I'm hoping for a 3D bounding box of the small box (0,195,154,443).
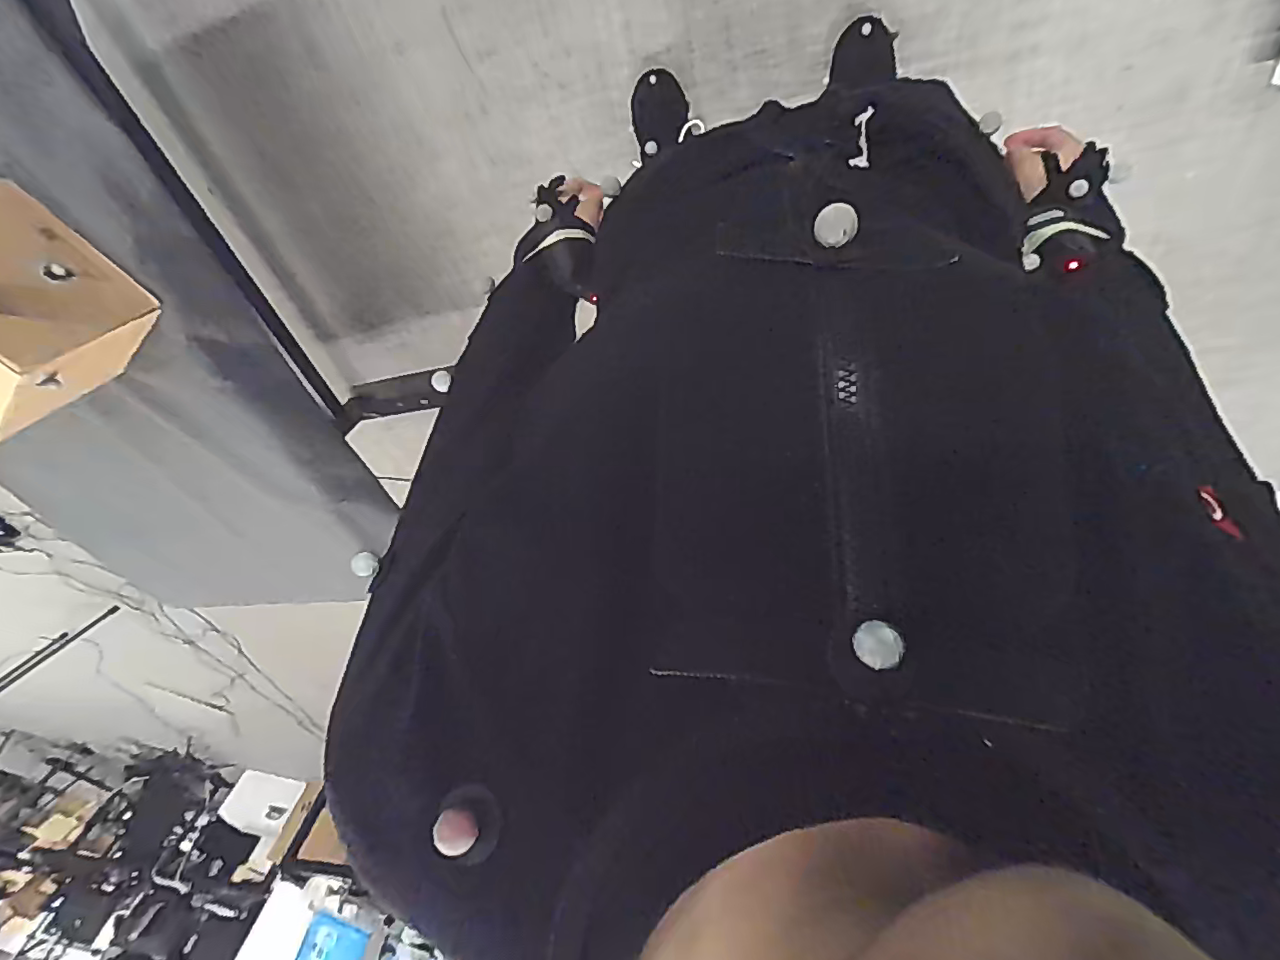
[{"bbox_3d":[-0.694,-0.171,0.589,0.179,0.176,0.168,-26,121,30],"label":"small box"}]
